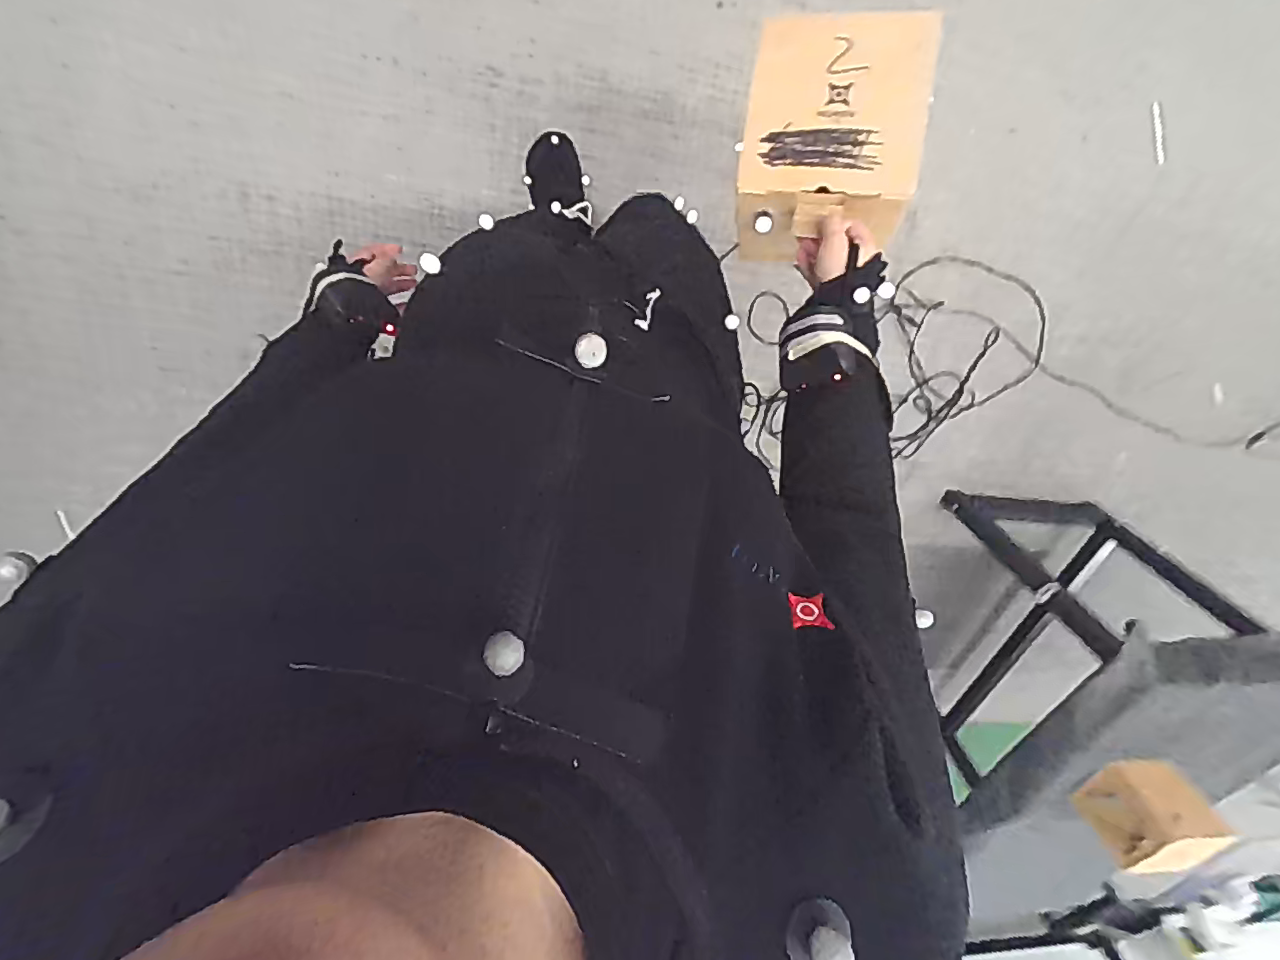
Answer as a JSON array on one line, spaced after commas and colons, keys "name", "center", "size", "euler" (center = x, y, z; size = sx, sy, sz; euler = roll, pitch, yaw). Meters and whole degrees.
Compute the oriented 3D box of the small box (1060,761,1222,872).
[{"name": "small box", "center": [1.147, 0.775, 1.253], "size": [0.179, 0.176, 0.168], "euler": [6, 123, -12]}]
